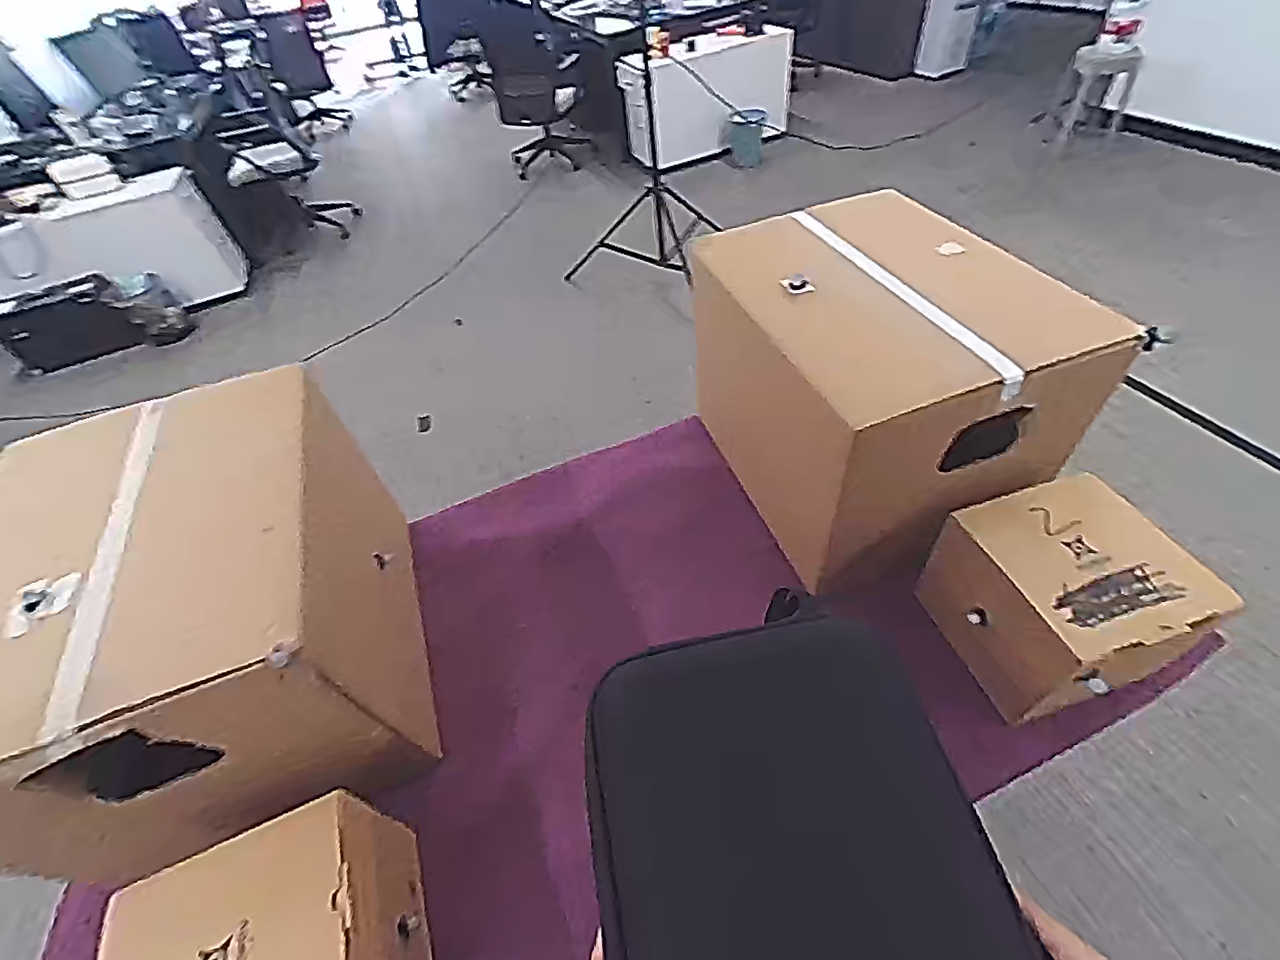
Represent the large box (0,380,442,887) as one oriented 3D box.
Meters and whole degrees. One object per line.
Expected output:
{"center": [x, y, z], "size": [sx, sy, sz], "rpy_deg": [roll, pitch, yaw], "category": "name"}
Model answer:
{"center": [-0.459, 0.157, 0.618], "size": [0.320, 0.320, 0.408], "rpy_deg": [-22, 51, -11], "category": "large box"}
